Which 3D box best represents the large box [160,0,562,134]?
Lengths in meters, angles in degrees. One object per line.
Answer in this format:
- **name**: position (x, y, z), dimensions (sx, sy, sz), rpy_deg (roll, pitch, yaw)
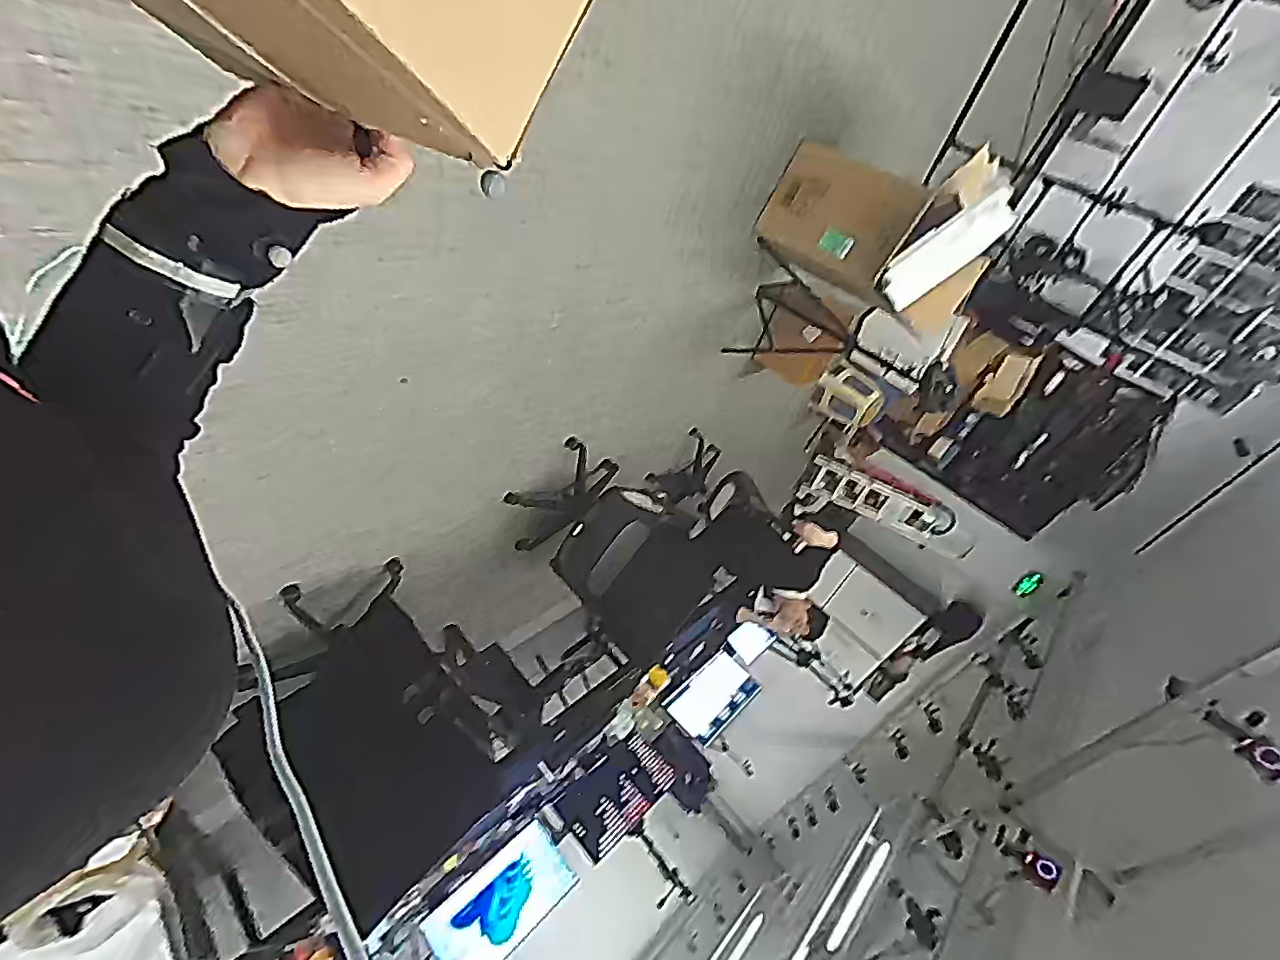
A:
- **large box**: position (-0.191, -0.374, 0.104), dimensions (0.320, 0.320, 0.408), rpy_deg (-59, 154, 9)
